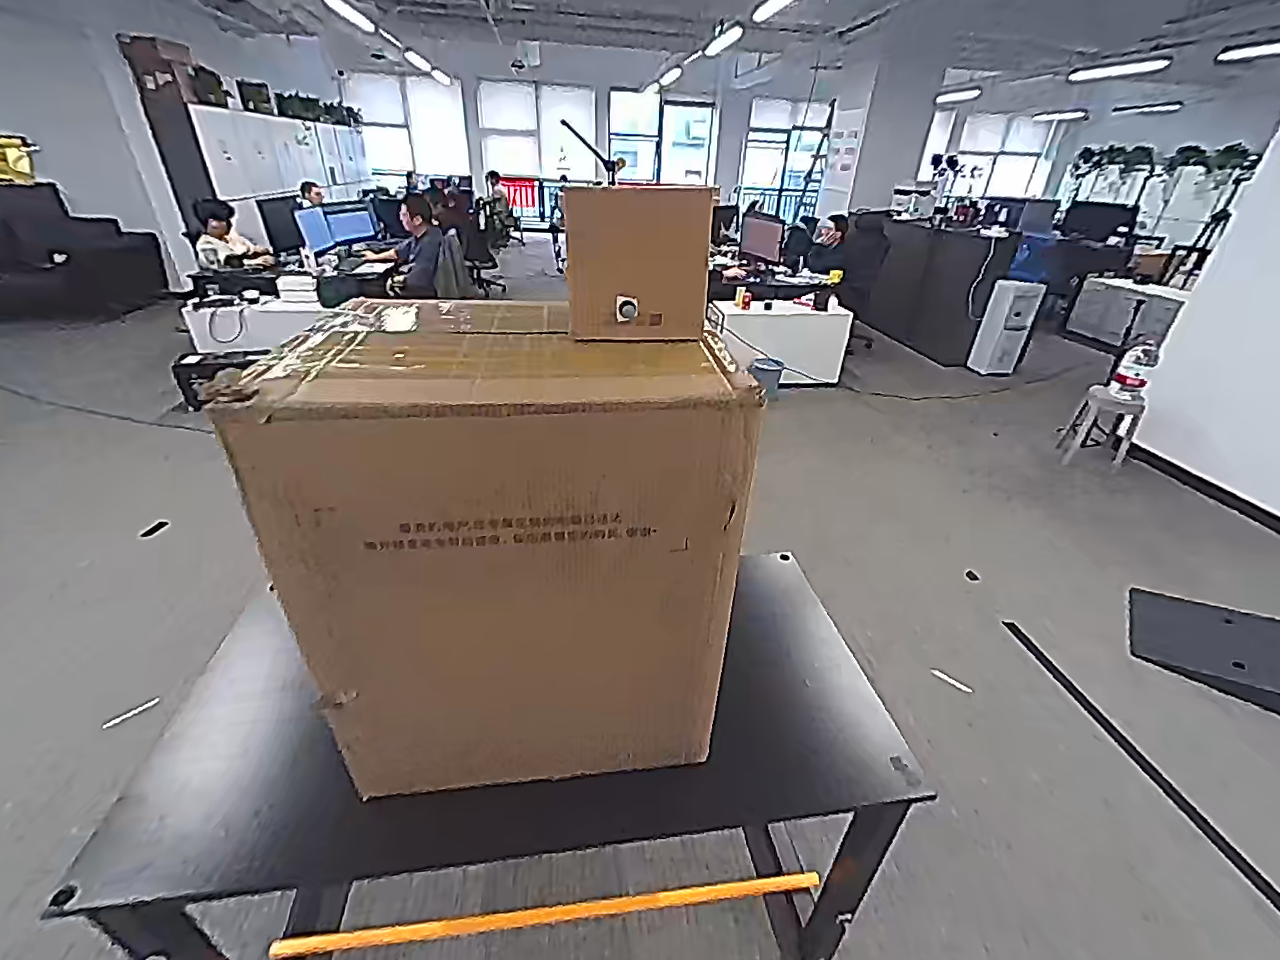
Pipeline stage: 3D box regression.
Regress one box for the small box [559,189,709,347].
[{"bbox_3d":[-0.013,-0.275,0.692,0.168,0.176,0.179,-4,30,-5],"label":"small box"}]
